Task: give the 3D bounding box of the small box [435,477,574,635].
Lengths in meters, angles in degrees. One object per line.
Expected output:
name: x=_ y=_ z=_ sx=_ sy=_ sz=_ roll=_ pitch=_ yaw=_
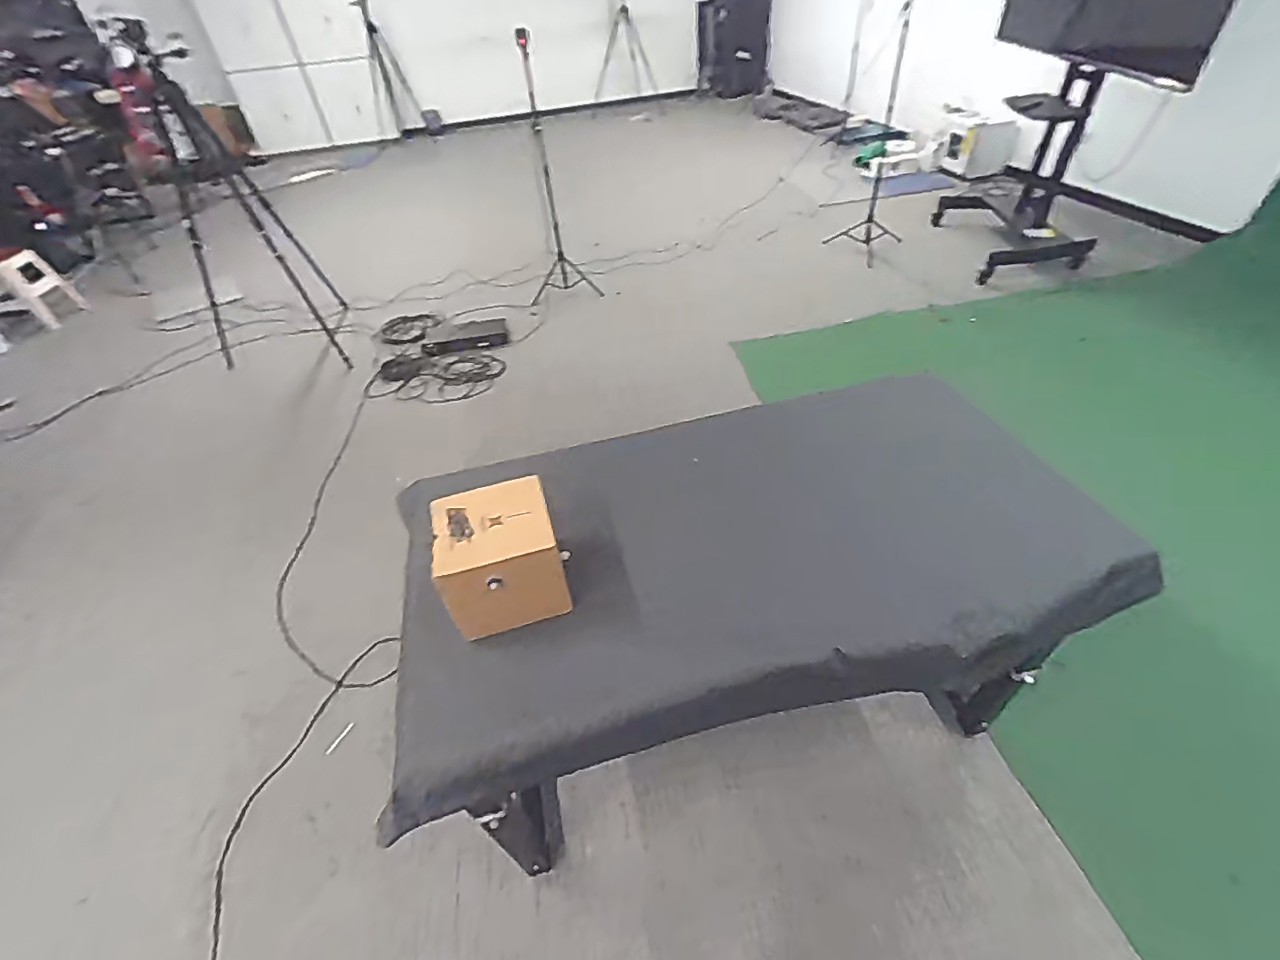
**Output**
small box: x=-0.218 y=0.125 z=0.881 sx=0.179 sy=0.176 sz=0.168 roll=-14 pitch=44 yaw=-10
